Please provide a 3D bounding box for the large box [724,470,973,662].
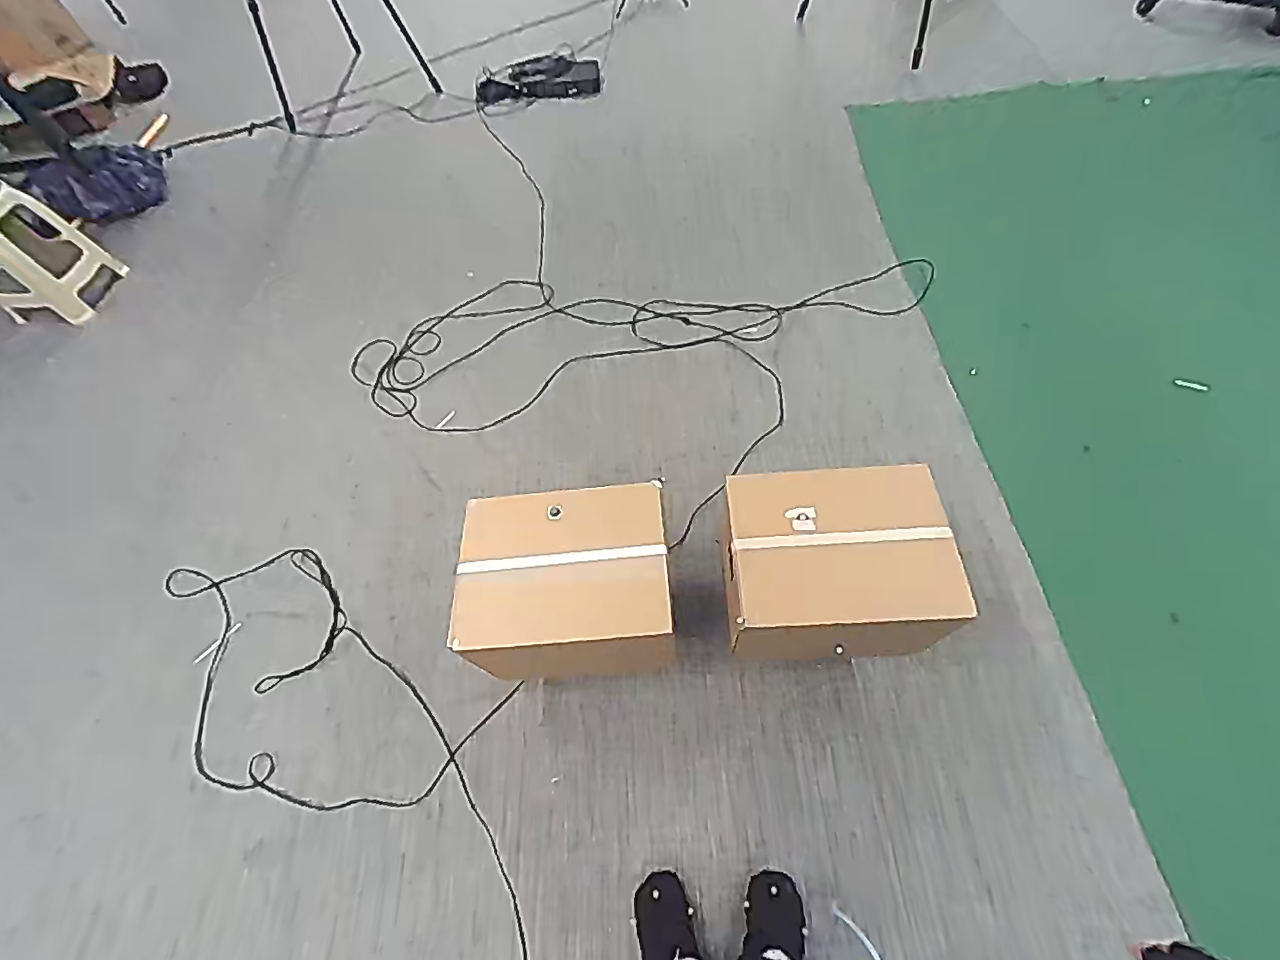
[{"bbox_3d":[0.400,0.199,1.160,0.408,0.320,0.320,-4,60,4],"label":"large box"}]
